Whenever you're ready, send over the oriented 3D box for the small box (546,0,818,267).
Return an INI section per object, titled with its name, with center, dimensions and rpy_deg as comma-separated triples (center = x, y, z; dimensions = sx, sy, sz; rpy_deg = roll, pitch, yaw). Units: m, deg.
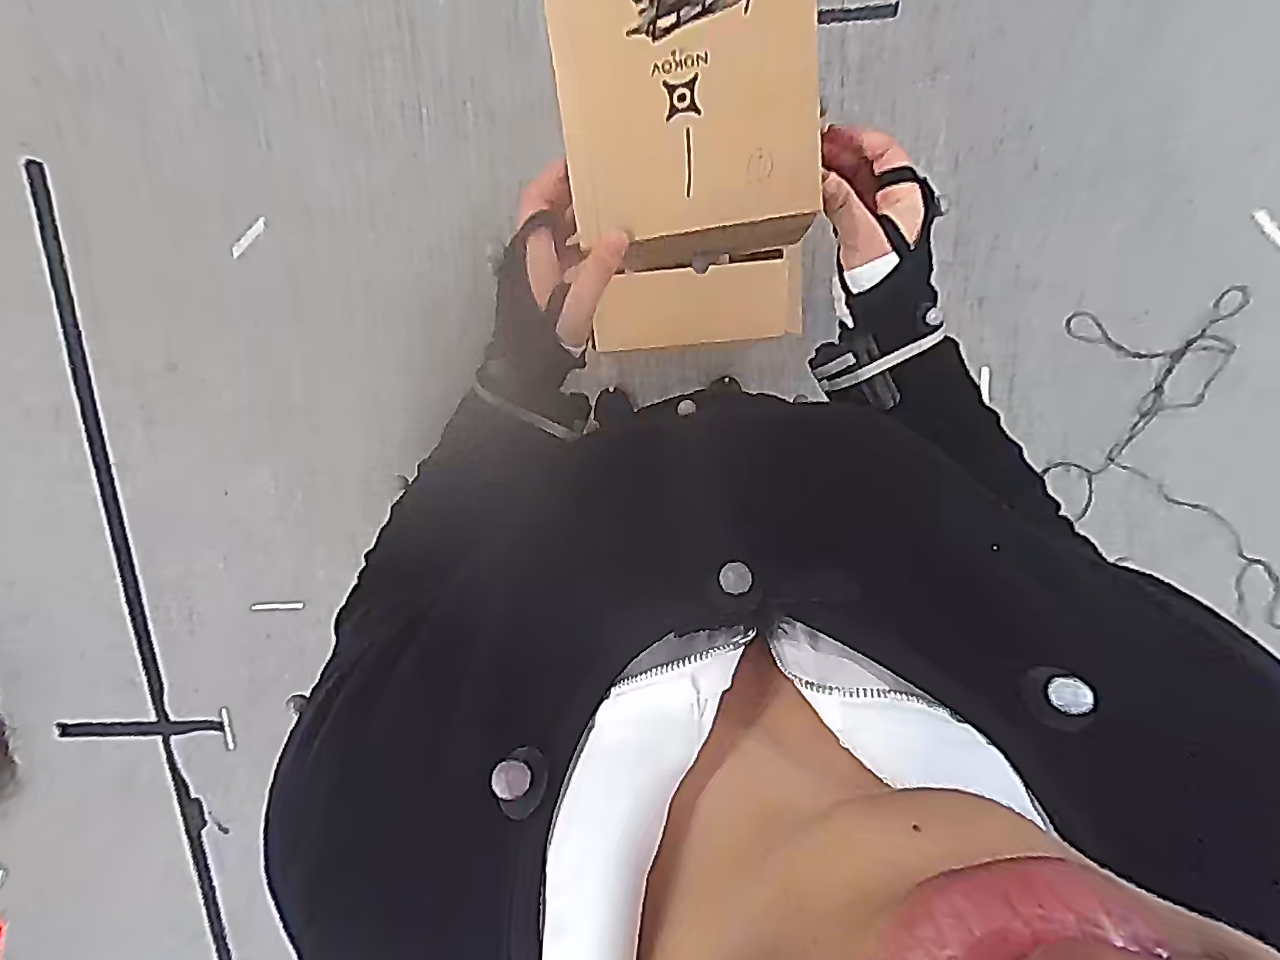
[small box]
center = 0.039, -0.274, 0.418
dimensions = 0.168, 0.176, 0.179
rpy_deg = -4, 106, 12
